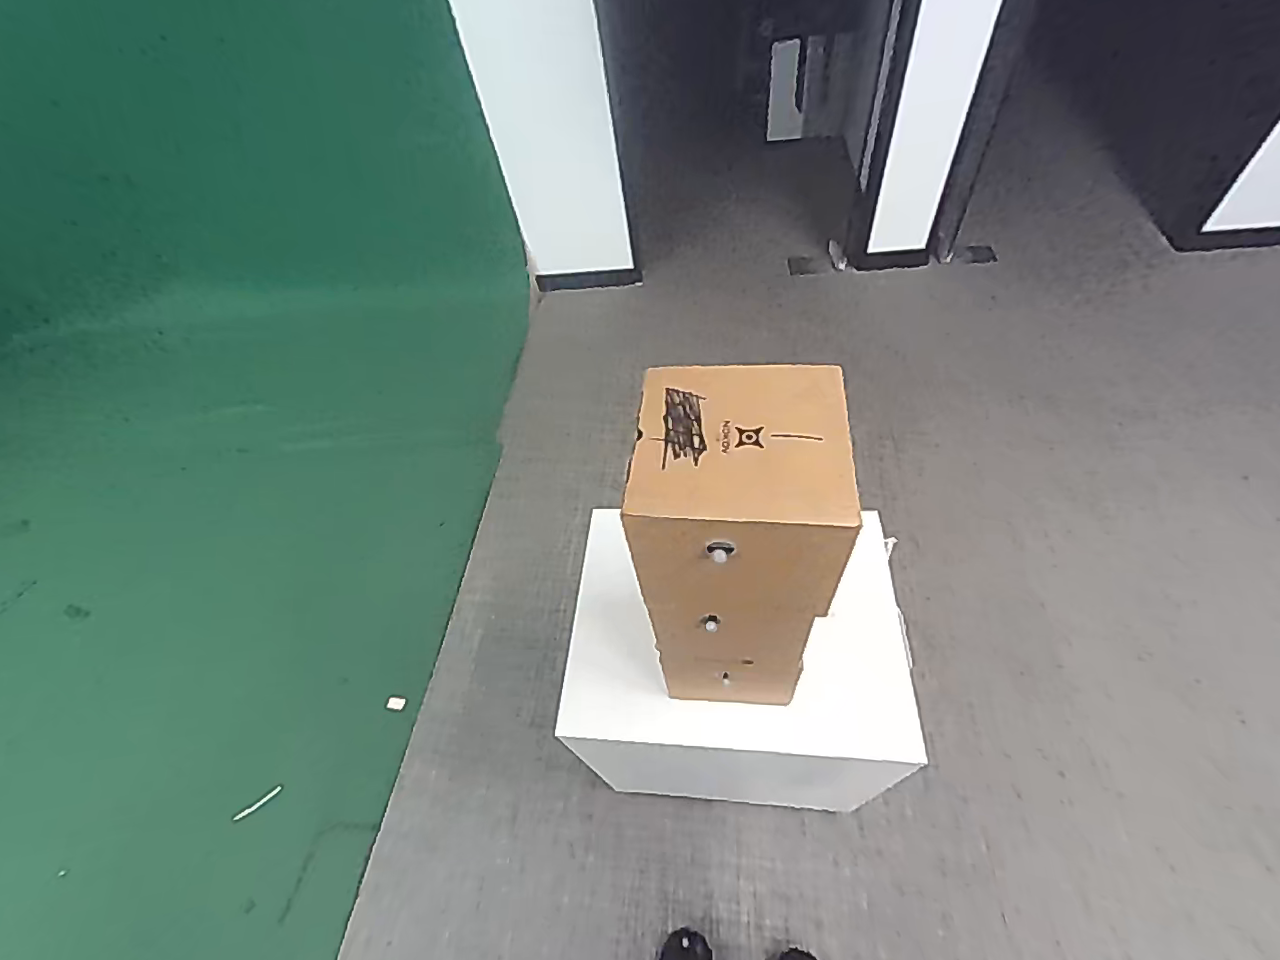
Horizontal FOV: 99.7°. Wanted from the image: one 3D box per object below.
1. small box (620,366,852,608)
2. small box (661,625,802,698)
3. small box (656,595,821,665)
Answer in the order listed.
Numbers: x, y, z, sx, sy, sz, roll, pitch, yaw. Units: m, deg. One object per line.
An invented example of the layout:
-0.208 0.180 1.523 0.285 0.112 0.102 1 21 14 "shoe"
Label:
0.091 0.011 0.514 0.179 0.176 0.168 2 54 10 "small box"
0.130 0.205 0.775 0.179 0.176 0.168 0 54 9 "small box"
0.112 0.106 0.650 0.168 0.176 0.179 -1 54 8 "small box"
